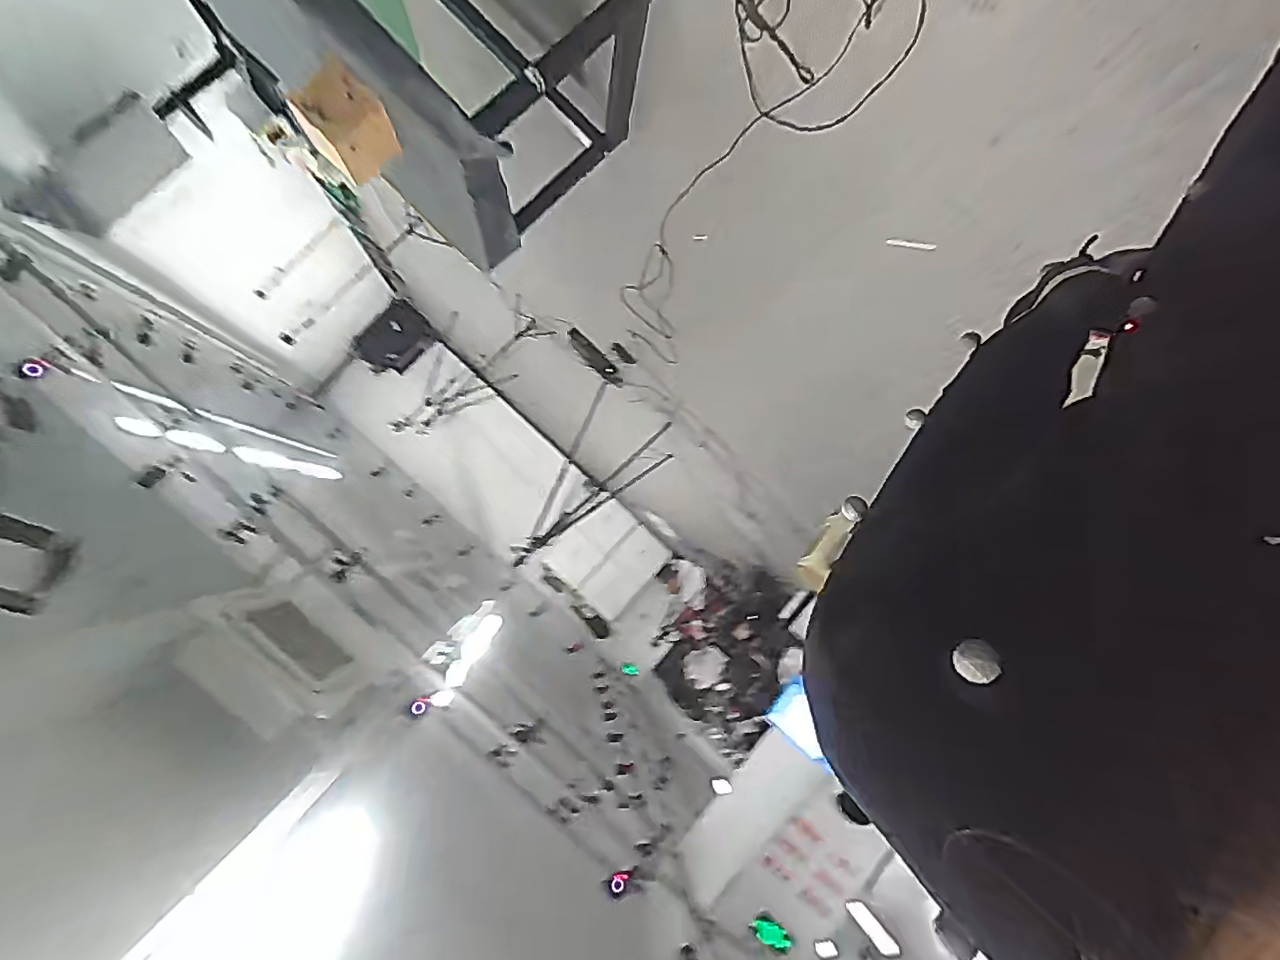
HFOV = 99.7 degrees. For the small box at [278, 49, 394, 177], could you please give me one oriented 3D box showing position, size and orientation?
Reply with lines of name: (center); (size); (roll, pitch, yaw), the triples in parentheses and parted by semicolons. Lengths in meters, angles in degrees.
small box: (-0.768, -0.939, 1.392); (0.168, 0.176, 0.179); (44, 169, -5)
